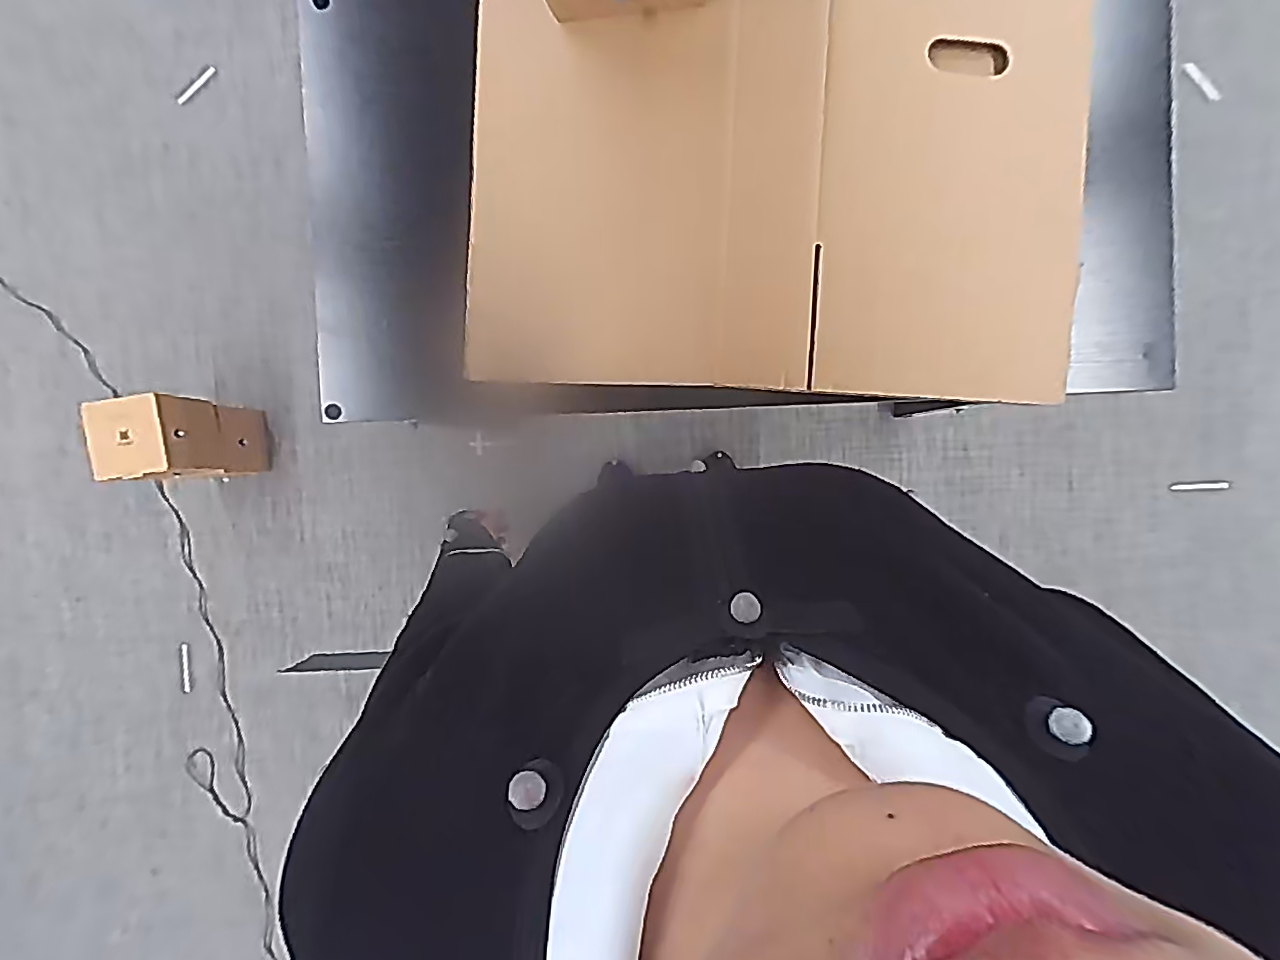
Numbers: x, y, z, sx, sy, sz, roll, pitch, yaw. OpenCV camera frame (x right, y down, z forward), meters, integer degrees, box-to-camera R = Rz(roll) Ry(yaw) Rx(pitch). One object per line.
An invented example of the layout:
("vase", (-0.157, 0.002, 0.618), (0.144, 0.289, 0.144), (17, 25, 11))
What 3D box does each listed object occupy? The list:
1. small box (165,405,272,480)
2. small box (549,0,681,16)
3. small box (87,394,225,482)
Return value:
("small box", (-1.117, -0.095, 1.429), (0.168, 0.176, 0.179), (-6, 93, 1))
("small box", (-0.026, -0.596, 0.515), (0.179, 0.176, 0.168), (4, 92, 13))
("small box", (-1.119, -0.096, 1.266), (0.168, 0.176, 0.179), (-9, 91, 0))
